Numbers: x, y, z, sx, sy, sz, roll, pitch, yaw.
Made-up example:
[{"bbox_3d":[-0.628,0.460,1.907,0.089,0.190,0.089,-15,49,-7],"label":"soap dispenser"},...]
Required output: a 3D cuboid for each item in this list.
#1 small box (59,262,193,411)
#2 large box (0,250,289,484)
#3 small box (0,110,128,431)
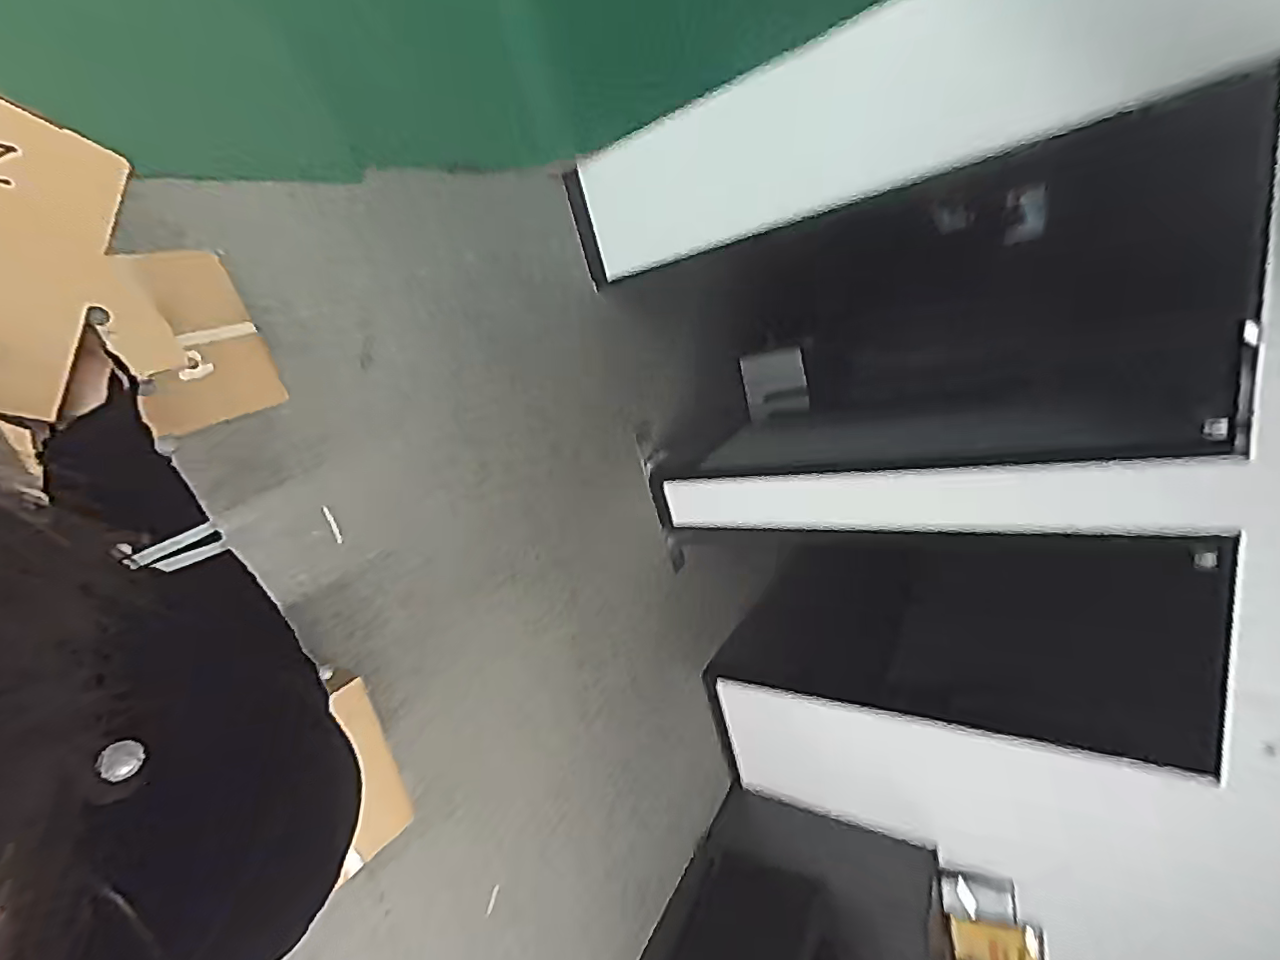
[{"bbox_3d":[-0.846,-0.214,0.831,0.168,0.176,0.179,-40,117,-48],"label":"small box"},{"bbox_3d":[-1.004,-0.217,1.033,0.408,0.320,0.320,-38,118,-49],"label":"large box"},{"bbox_3d":[-0.454,-0.139,0.323,0.168,0.176,0.179,17,84,-54],"label":"small box"}]
